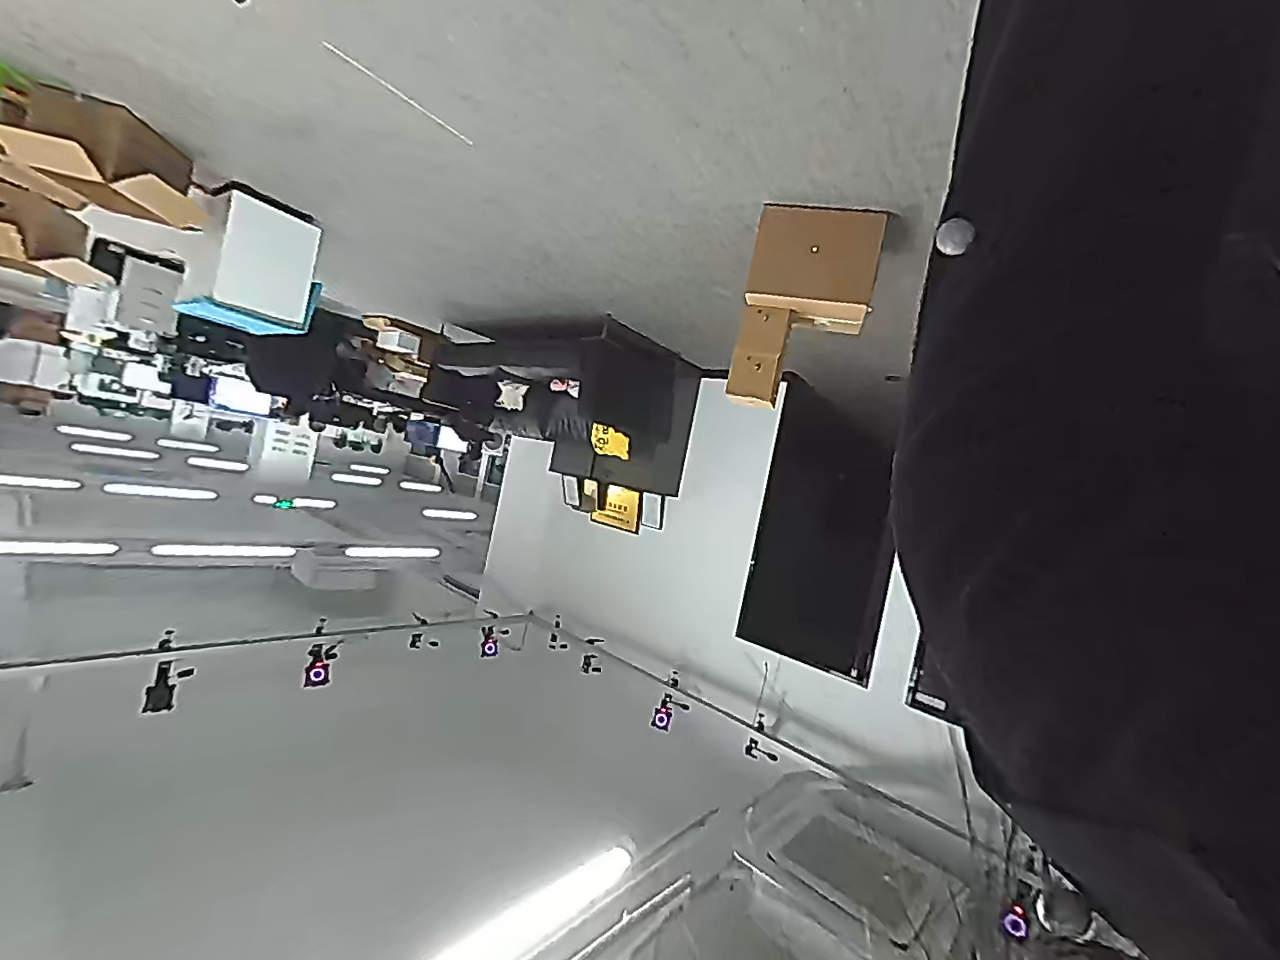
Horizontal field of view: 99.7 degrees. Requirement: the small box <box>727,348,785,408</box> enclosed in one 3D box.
[{"bbox_3d":[0.431,-0.374,1.987,0.168,0.176,0.179,12,180,20],"label":"small box"}]
